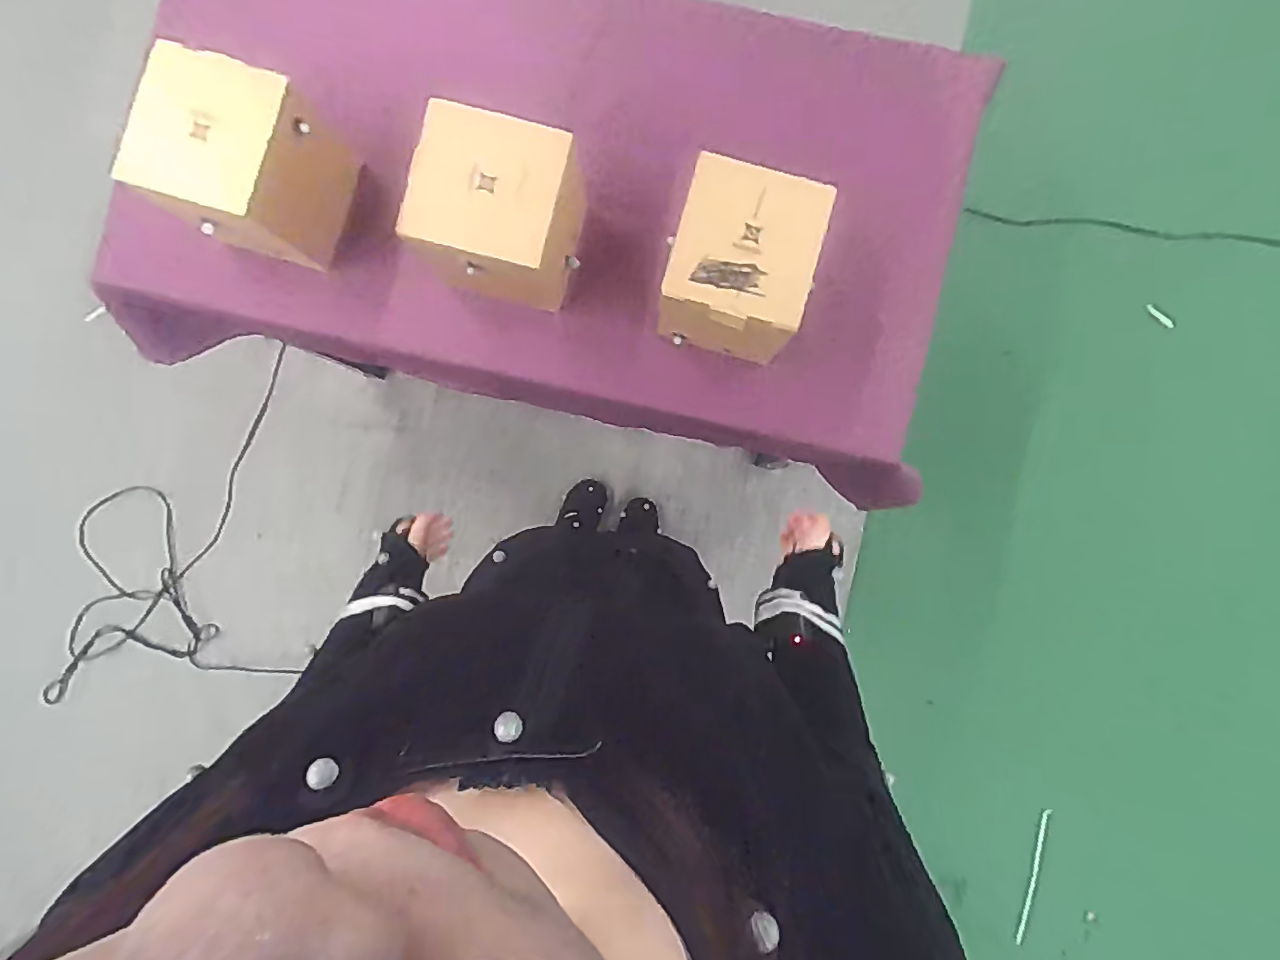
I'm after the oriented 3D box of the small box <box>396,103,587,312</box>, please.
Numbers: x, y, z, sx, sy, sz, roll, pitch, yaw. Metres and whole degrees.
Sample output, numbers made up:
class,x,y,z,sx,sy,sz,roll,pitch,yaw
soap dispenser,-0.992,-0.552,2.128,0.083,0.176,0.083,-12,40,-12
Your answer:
class,x,y,z,sx,sy,sz,roll,pitch,yaw
small box,-0.179,-0.339,0.709,0.179,0.176,0.168,15,89,0

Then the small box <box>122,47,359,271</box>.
class,x,y,z,sx,sy,sz,roll,pitch,yaw
small box,-0.507,-0.406,0.715,0.168,0.176,0.179,17,88,1

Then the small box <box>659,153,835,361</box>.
class,x,y,z,sx,sy,sz,roll,pitch,yaw
small box,0.126,-0.271,0.700,0.168,0.176,0.179,16,88,1
